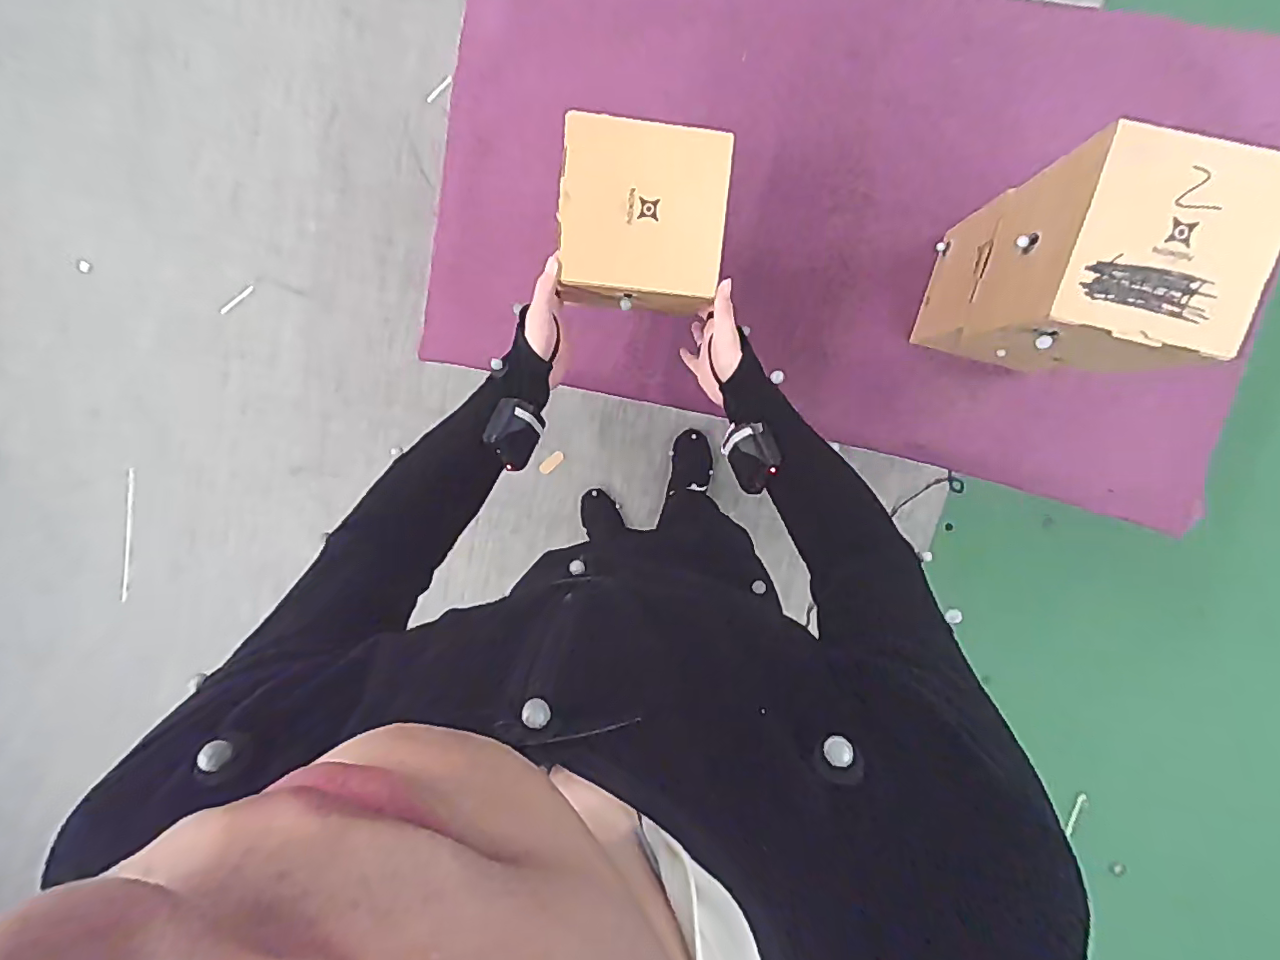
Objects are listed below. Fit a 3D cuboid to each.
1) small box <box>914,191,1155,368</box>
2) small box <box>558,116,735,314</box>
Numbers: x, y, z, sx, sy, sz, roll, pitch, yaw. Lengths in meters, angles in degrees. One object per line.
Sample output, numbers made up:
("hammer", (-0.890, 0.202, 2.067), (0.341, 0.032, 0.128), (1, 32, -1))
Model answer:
("small box", (0.501, -0.251, 0.721), (0.179, 0.176, 0.168), (15, 99, 3))
("small box", (-0.001, -0.295, 0.642), (0.179, 0.176, 0.168), (4, 101, -5))
